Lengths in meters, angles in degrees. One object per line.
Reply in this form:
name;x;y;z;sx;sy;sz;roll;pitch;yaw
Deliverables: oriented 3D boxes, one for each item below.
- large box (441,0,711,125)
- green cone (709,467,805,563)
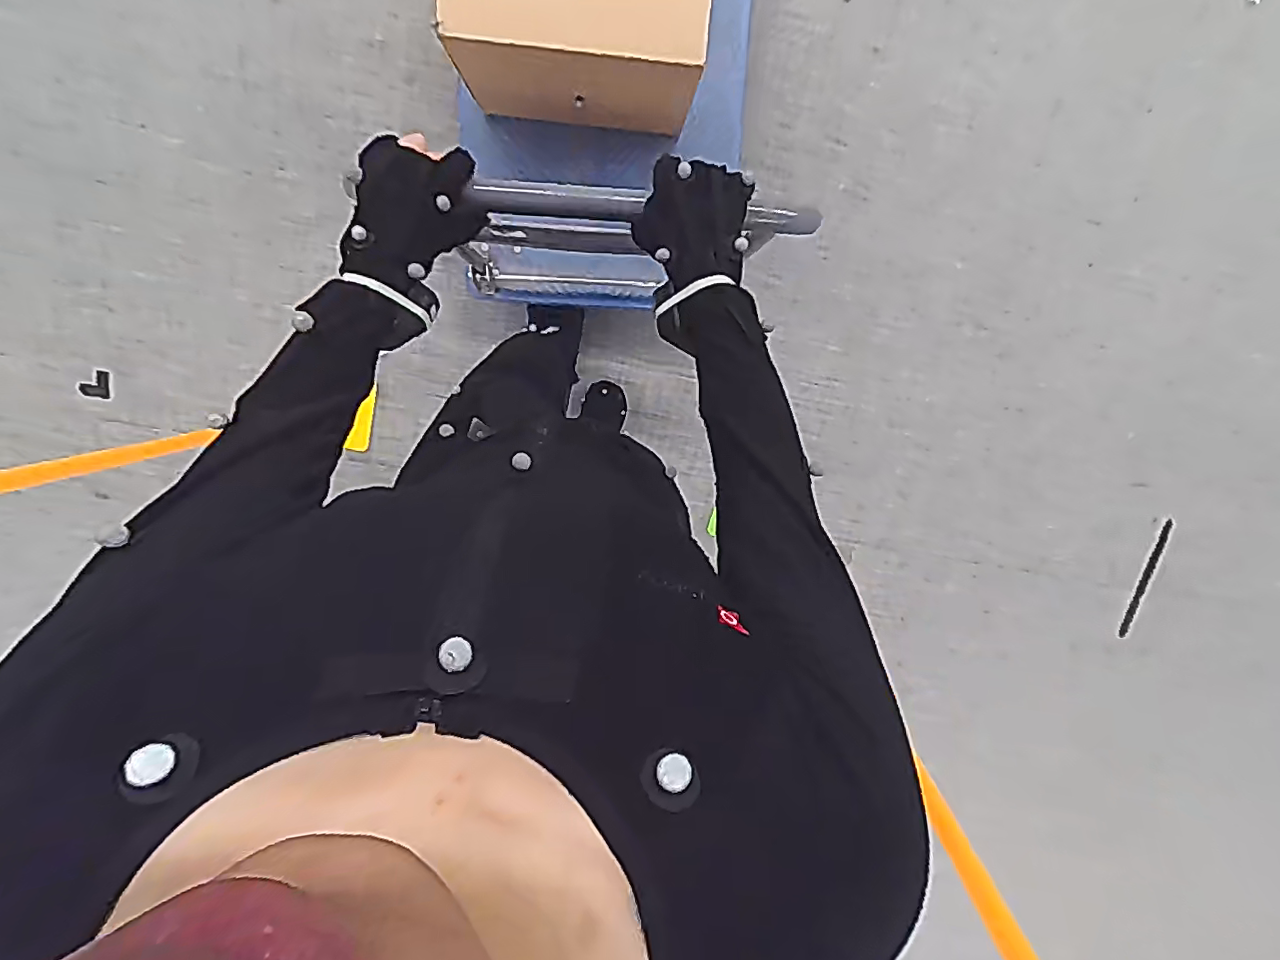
large box;-0.092;-0.840;0.918;0.408;0.320;0.320;4;105;-4
green cone;0.321;0.119;1.346;0.202;0.368;0.200;14;103;-8
